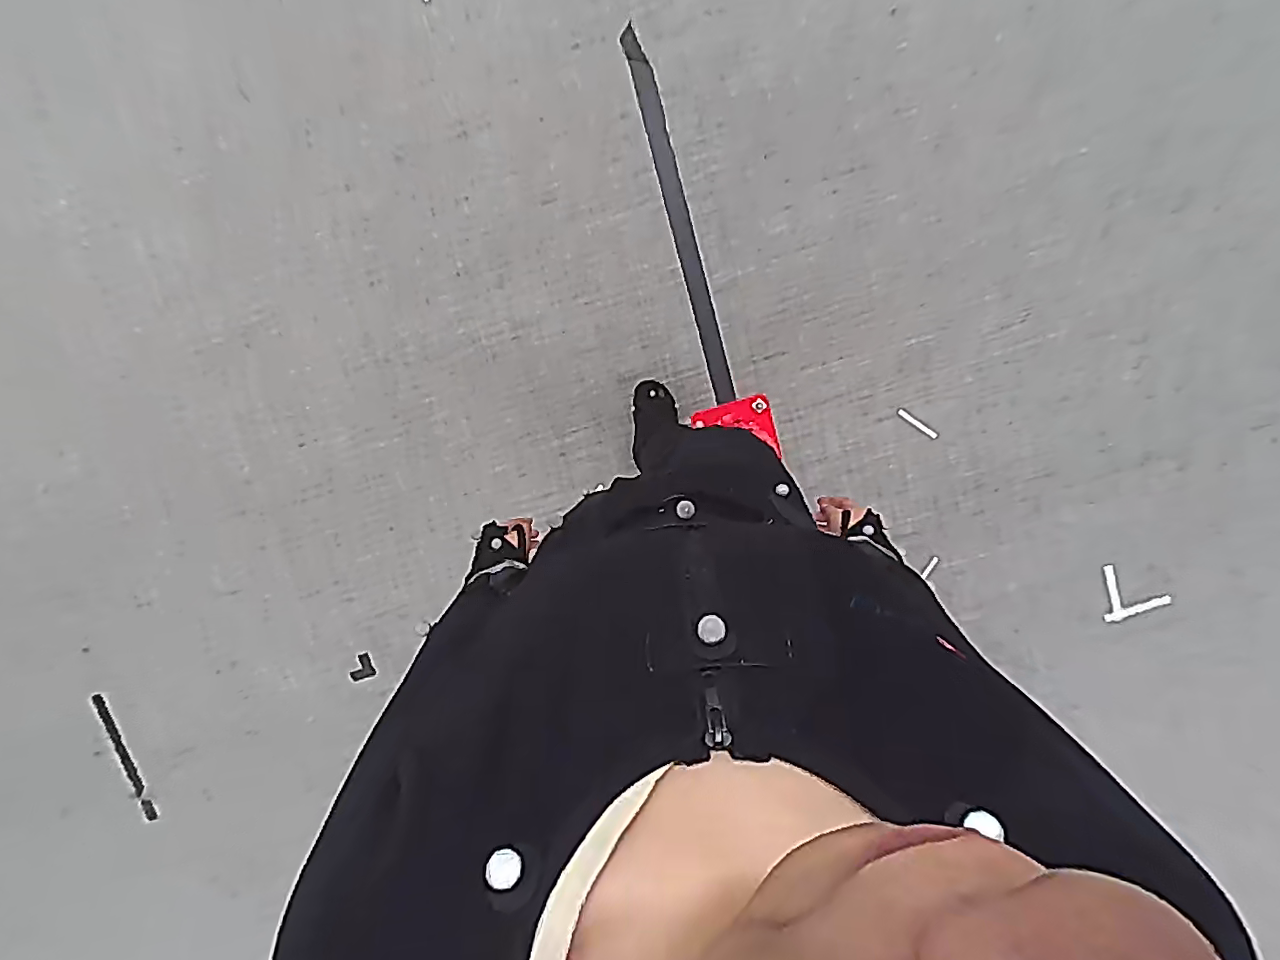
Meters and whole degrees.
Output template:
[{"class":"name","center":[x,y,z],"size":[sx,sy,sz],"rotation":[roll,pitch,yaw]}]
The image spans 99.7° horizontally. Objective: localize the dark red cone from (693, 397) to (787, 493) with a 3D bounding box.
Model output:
[{"class":"dark red cone","center":[0.242,-0.056,1.160],"size":[0.201,0.394,0.202],"rotation":[-17,100,3]}]
